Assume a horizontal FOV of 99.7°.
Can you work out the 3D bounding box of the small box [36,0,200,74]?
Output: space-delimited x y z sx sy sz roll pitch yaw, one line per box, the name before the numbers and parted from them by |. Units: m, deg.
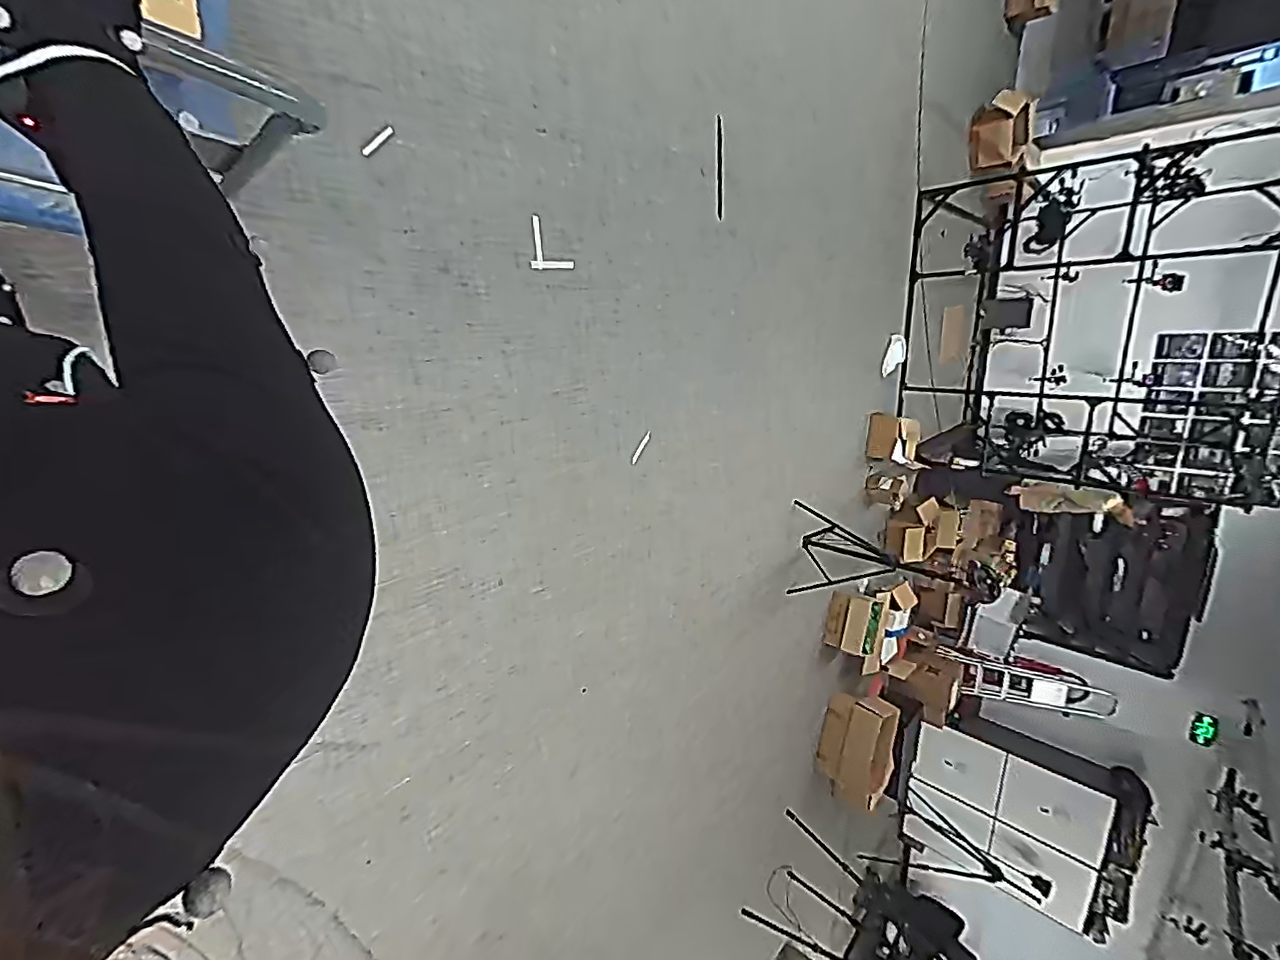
small box | -0.800 -0.763 0.822 0.179 0.176 0.168 -9 106 -46
